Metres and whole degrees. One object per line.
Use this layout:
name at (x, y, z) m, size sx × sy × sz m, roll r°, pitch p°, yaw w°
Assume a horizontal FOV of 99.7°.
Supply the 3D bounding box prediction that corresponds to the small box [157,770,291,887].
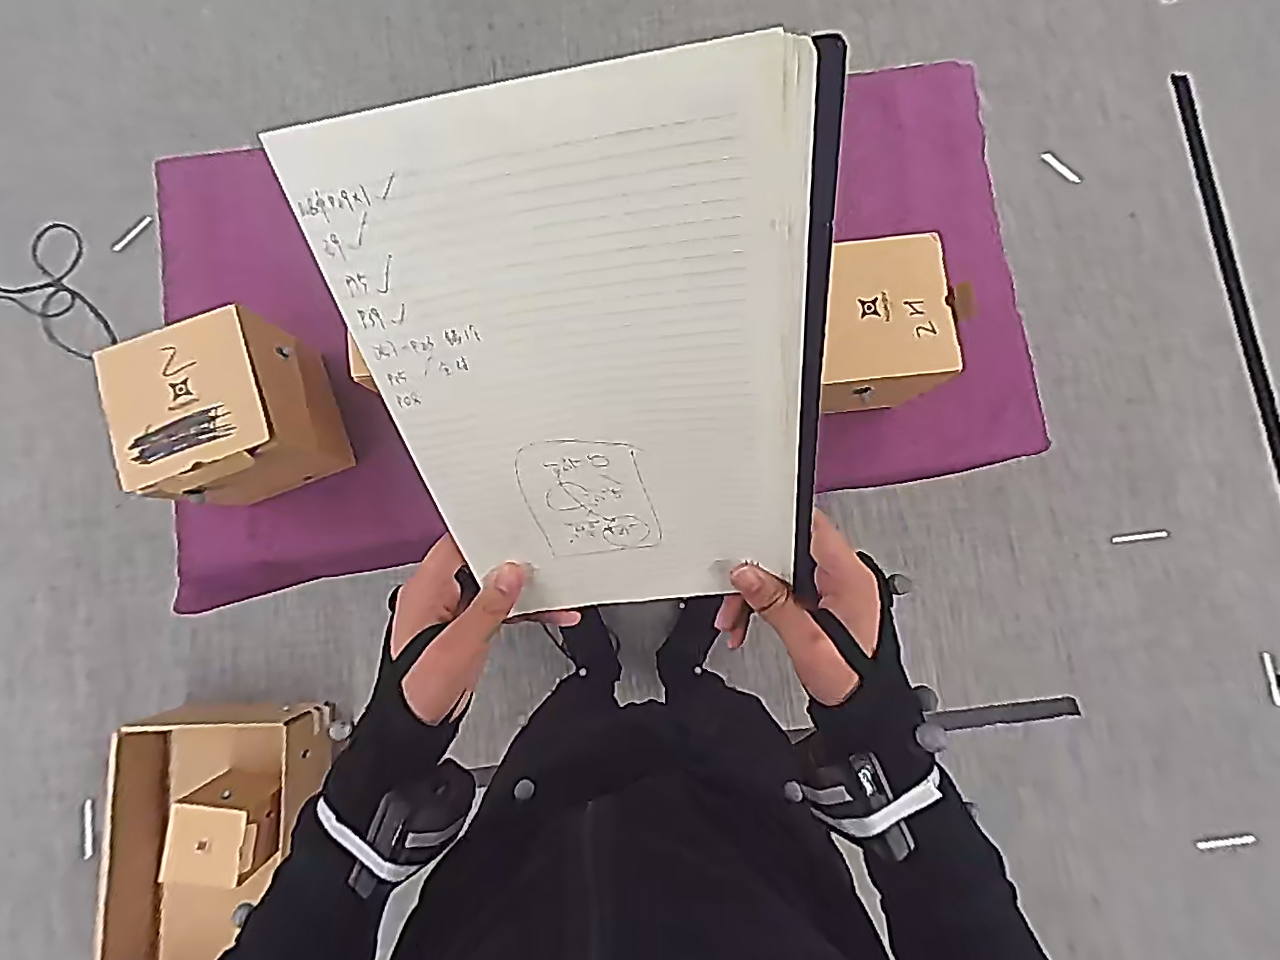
small box at (-0.956, 0.801, 1.260) m, size 0.179 × 0.176 × 0.168 m, roll 7°, pitch 84°, yaw 0°

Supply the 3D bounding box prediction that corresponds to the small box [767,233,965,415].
small box at (0.266, -0.183, 0.682) m, size 0.179 × 0.176 × 0.168 m, roll -5°, pitch 84°, yaw -1°

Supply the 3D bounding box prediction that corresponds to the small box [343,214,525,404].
small box at (-0.247, -0.200, 0.684) m, size 0.168 × 0.176 × 0.179 m, roll -6°, pitch 83°, yaw -1°
